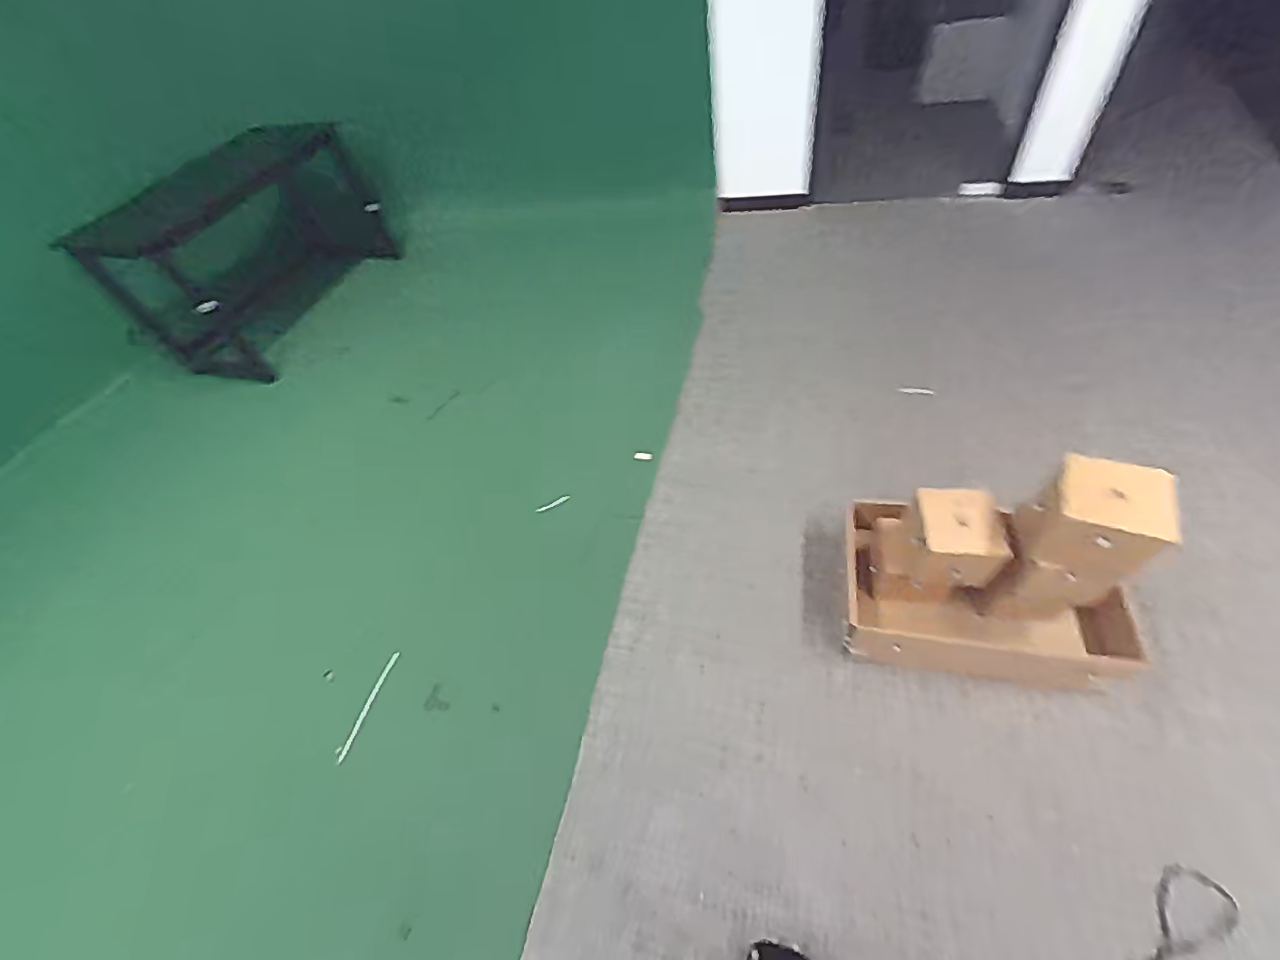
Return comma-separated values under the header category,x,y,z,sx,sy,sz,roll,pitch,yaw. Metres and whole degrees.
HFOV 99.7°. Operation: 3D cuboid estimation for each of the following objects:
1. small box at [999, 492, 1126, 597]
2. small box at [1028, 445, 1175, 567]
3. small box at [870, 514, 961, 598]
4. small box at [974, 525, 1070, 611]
category,x,y,z,sx,sy,sz,roll,pitch,yaw
small box,0.951,0.146,1.234,0.168,0.176,0.179,0,53,15
small box,0.926,0.057,1.099,0.179,0.176,0.168,13,58,23
small box,0.725,0.206,1.448,0.179,0.176,0.168,2,54,11
small box,0.978,0.226,1.376,0.179,0.176,0.168,-3,53,12
